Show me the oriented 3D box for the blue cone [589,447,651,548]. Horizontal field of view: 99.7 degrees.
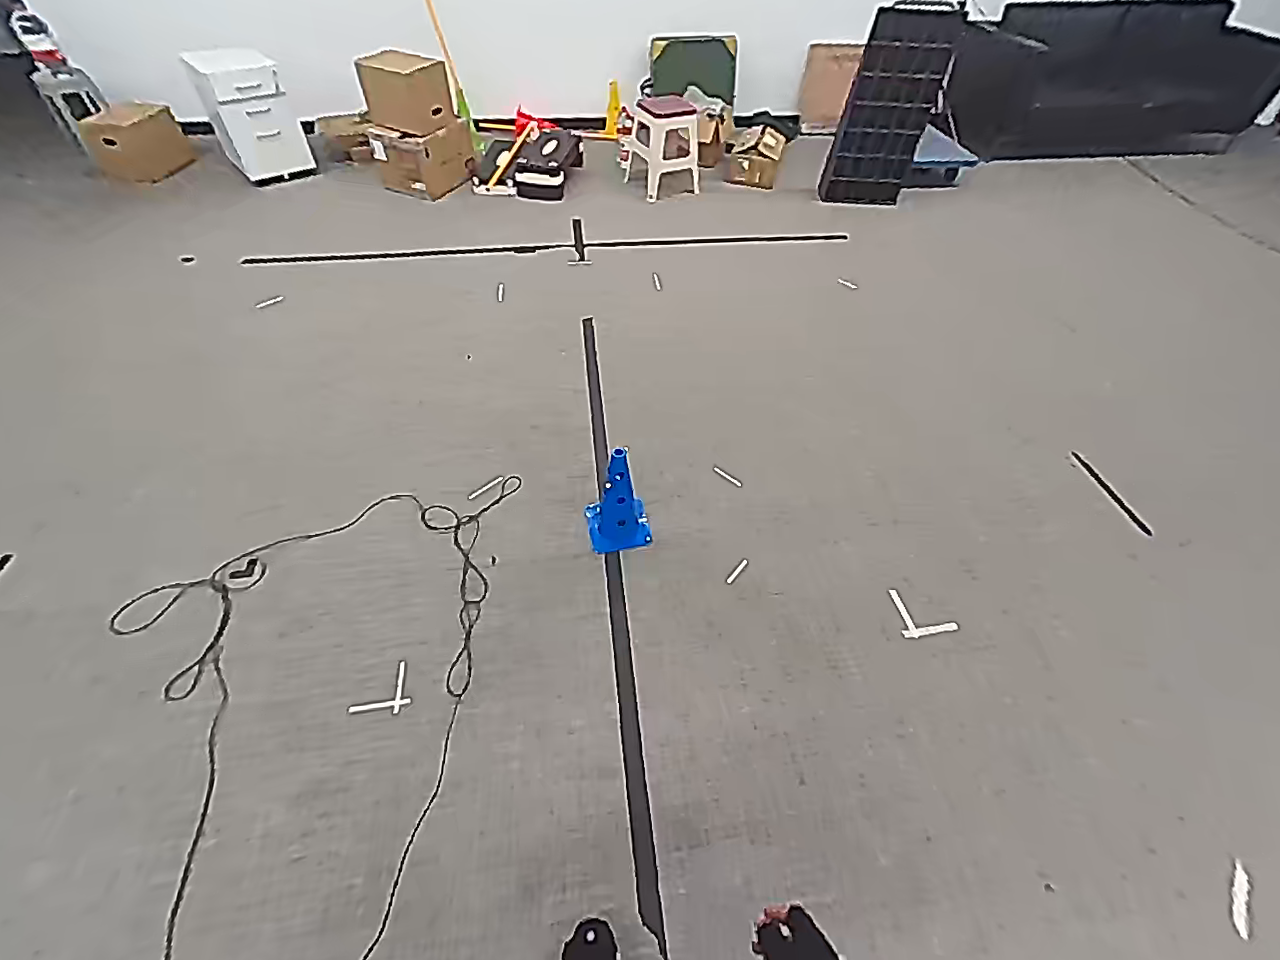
[{"bbox_3d":[-0.061,0.038,1.688,0.192,0.380,0.193,-6,50,-9],"label":"blue cone"}]
